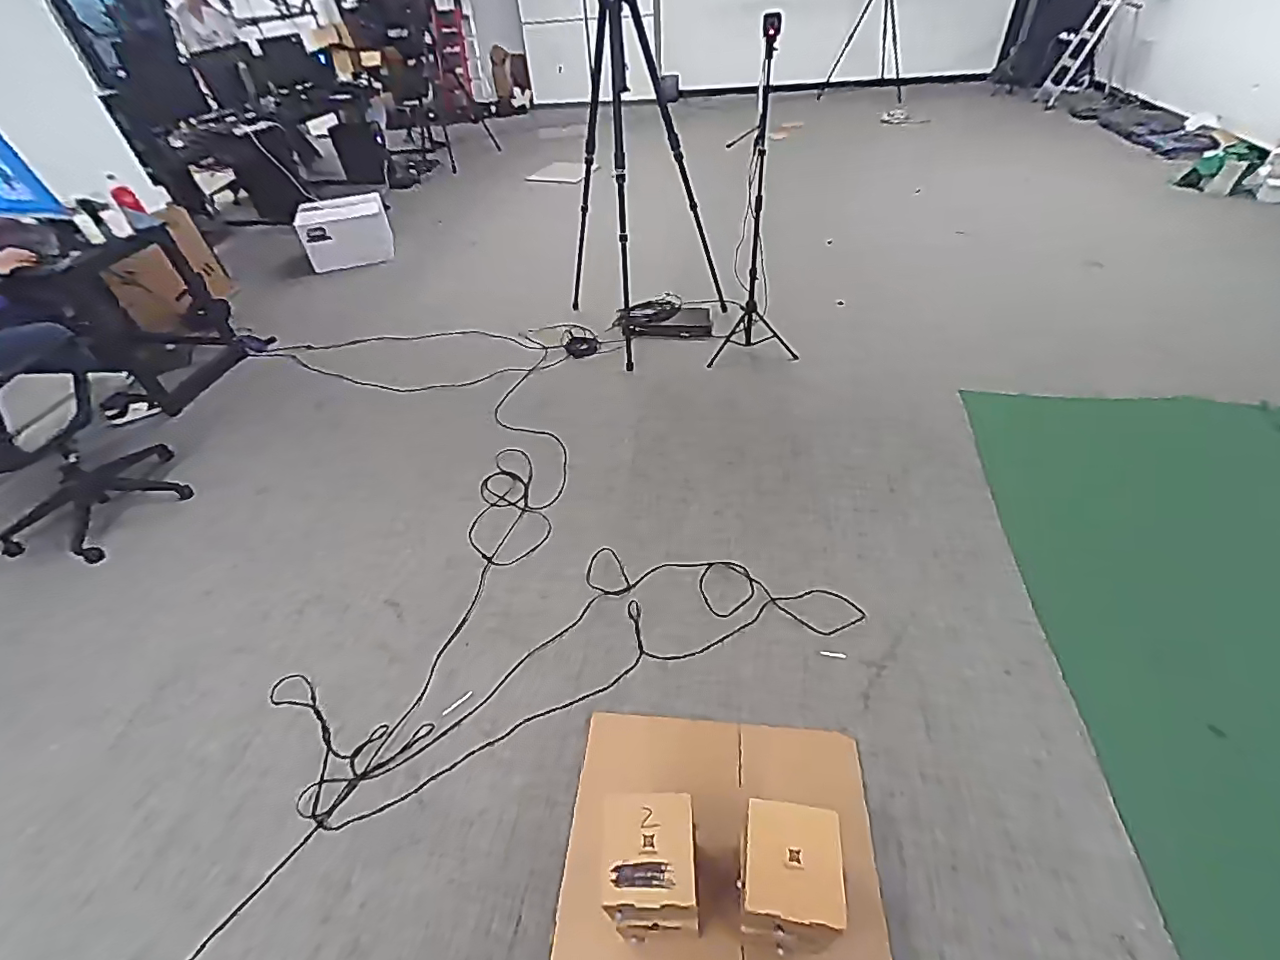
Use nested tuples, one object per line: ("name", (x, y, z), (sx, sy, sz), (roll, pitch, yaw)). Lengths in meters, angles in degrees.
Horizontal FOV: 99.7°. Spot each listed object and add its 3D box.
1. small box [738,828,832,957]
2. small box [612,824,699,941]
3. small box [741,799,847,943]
("small box", (0.288, 0.847, 1.111), (0.168, 0.176, 0.179), (0, 44, 9))
("small box", (0.038, 0.846, 1.135), (0.168, 0.176, 0.179), (-2, 44, 5))
("small box", (0.277, 0.725, 1.004), (0.168, 0.176, 0.179), (3, 45, 10))
